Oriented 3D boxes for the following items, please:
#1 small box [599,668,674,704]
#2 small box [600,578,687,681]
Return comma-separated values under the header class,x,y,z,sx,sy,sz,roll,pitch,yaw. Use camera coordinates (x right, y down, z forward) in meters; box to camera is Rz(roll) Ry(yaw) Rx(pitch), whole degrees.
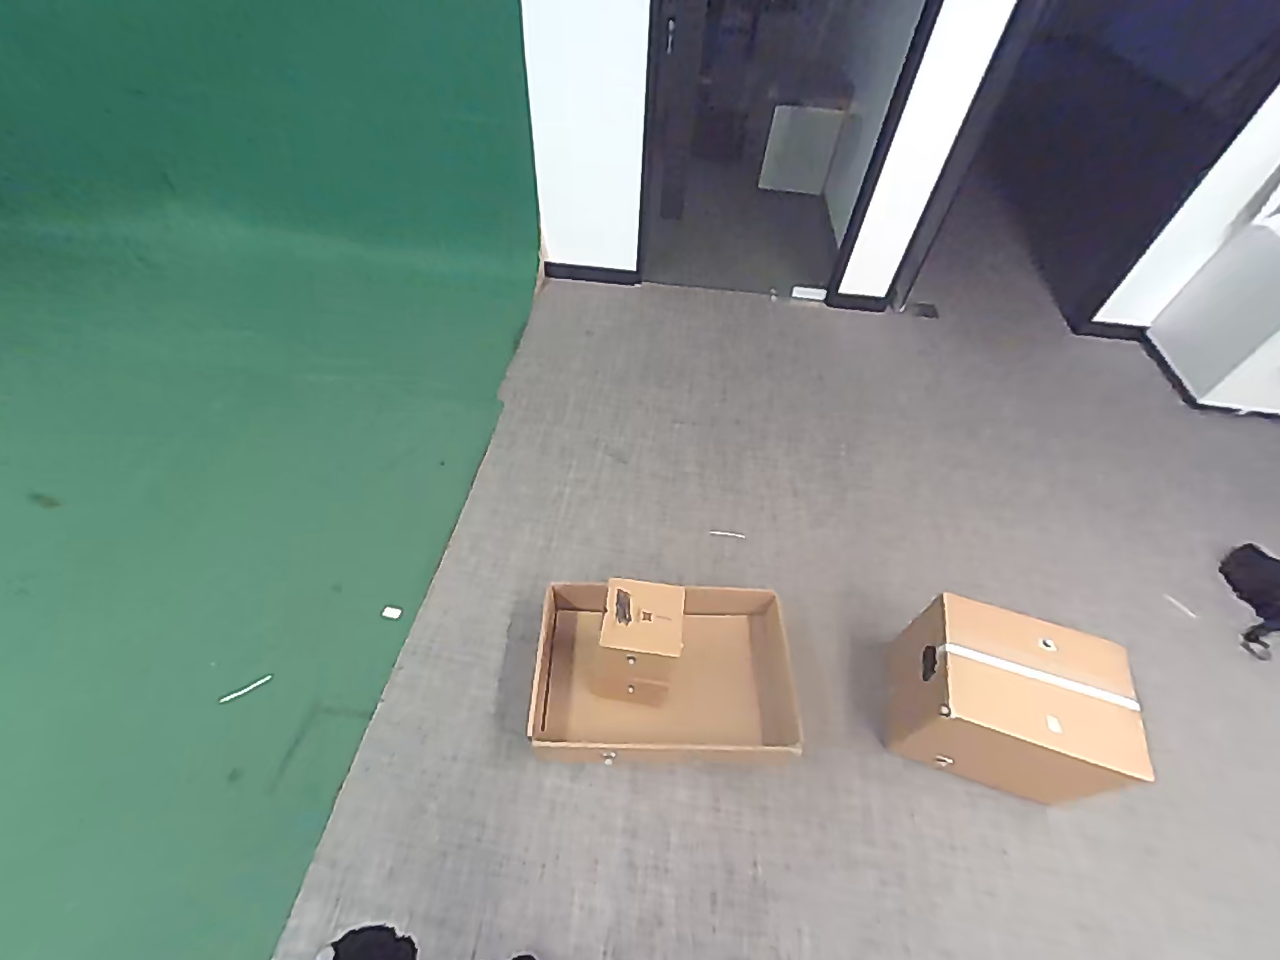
class,x,y,z,sx,sy,sz,roll,pitch,yaw
small box,-0.005,0.451,1.365,0.179,0.176,0.168,9,51,0
small box,0.005,0.346,1.239,0.179,0.176,0.168,8,51,0
